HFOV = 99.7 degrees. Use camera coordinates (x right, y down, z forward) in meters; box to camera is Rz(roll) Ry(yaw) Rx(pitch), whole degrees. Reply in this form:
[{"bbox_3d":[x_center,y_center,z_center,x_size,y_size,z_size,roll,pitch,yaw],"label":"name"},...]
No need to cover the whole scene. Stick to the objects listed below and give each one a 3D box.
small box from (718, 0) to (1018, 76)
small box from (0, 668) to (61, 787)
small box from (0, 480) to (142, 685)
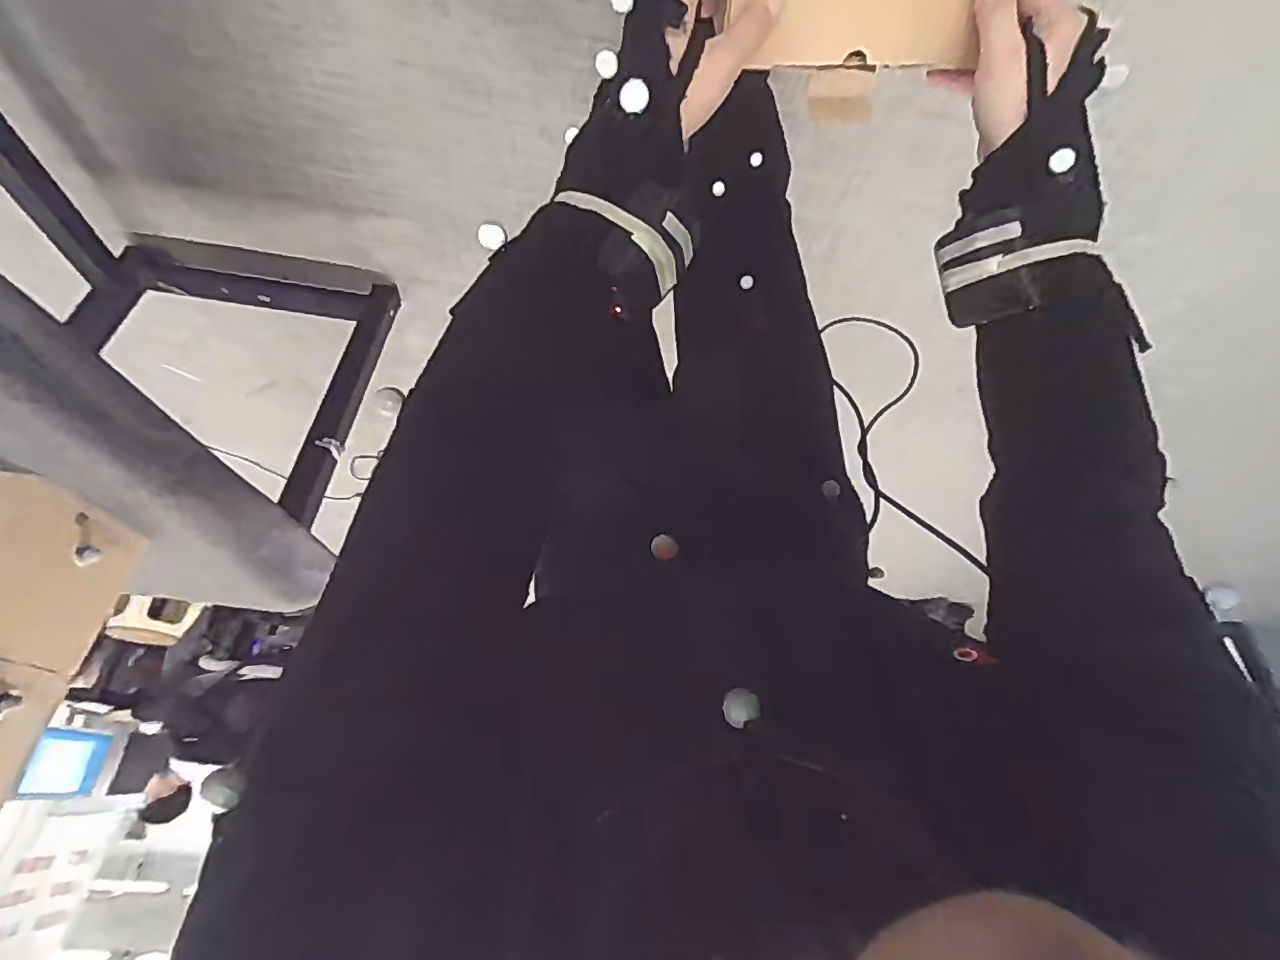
[{"bbox_3d":[0.130,-0.365,0.303,0.168,0.176,0.179,1,149,2],"label":"small box"},{"bbox_3d":[-0.699,0.241,0.473,0.179,0.176,0.168,6,151,-4],"label":"small box"},{"bbox_3d":[-0.689,0.102,0.555,0.179,0.176,0.168,6,150,-5],"label":"small box"}]
